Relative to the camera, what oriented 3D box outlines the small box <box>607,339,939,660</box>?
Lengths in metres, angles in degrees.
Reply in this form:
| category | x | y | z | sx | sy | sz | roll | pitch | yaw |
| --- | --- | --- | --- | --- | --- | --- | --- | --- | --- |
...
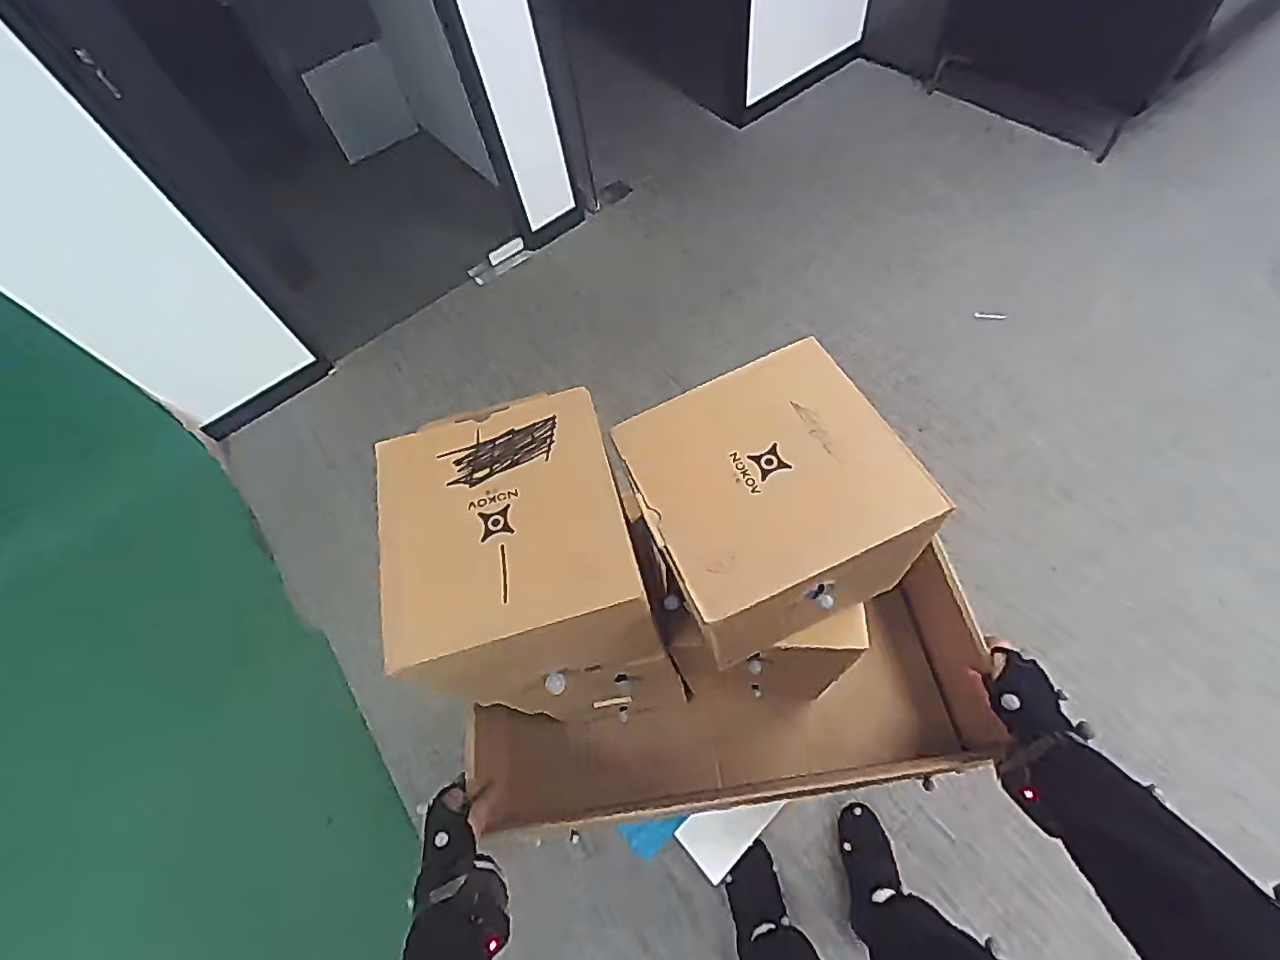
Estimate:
| category | x | y | z | sx | sy | sz | roll | pitch | yaw |
| --- | --- | --- | --- | --- | --- | --- | --- | --- | --- |
| small box | 0.096 | 0.027 | 0.441 | 0.179 | 0.176 | 0.168 | -24 | 59 | -2 |
